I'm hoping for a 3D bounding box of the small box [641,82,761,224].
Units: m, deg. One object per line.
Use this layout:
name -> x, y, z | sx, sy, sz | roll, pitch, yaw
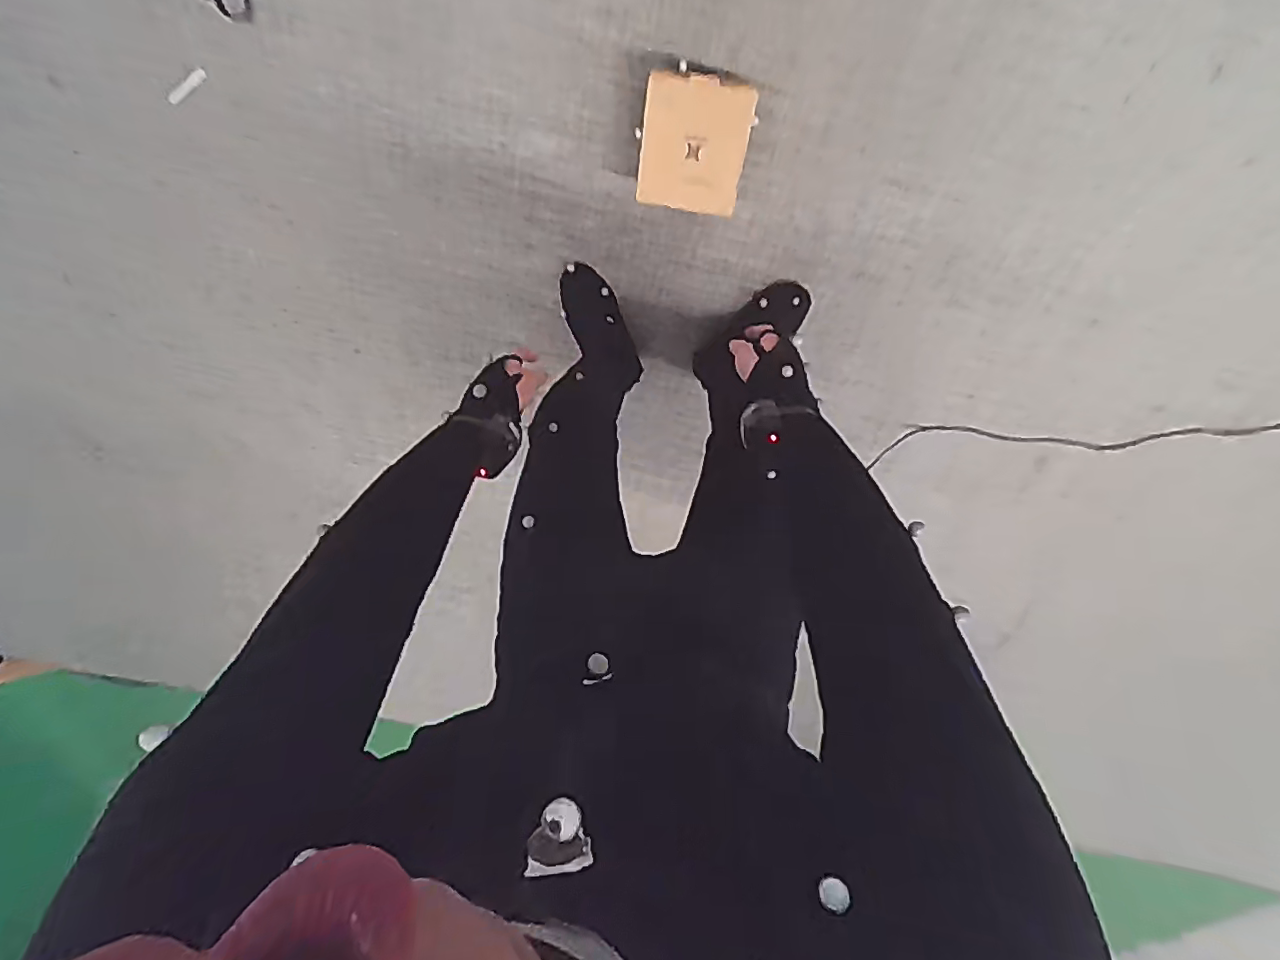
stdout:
small box -> 0.098, -0.555, 0.914 | 0.168, 0.176, 0.179 | 9, 129, 1
